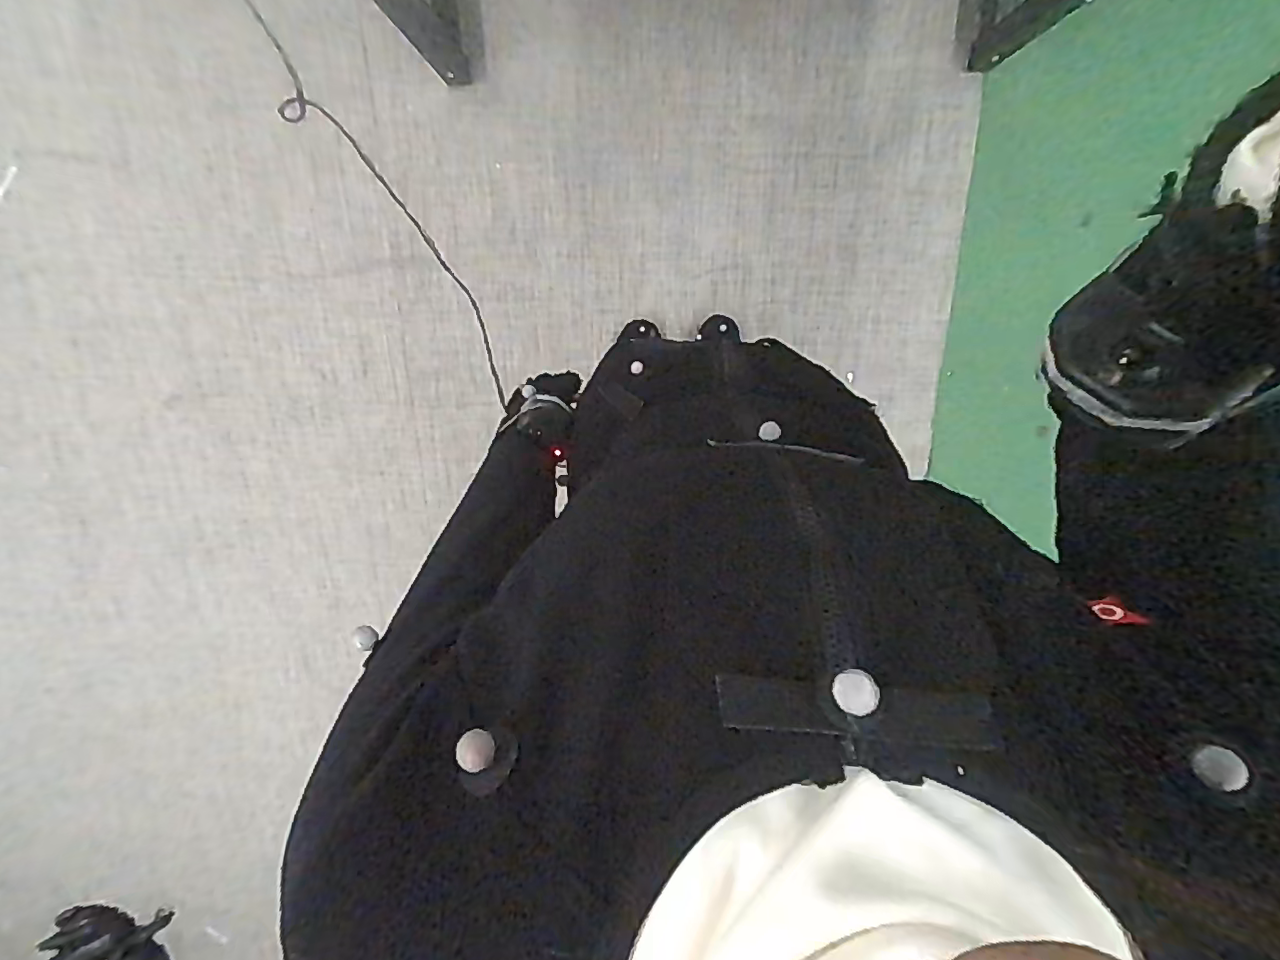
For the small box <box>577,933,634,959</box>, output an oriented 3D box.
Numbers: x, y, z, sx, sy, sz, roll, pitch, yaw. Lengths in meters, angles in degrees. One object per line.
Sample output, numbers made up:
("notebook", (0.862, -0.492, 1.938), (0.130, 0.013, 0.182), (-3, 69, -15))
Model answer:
("small box", (-0.109, 1.565, 1.693), (0.179, 0.176, 0.168), (-2, 106, 0))
